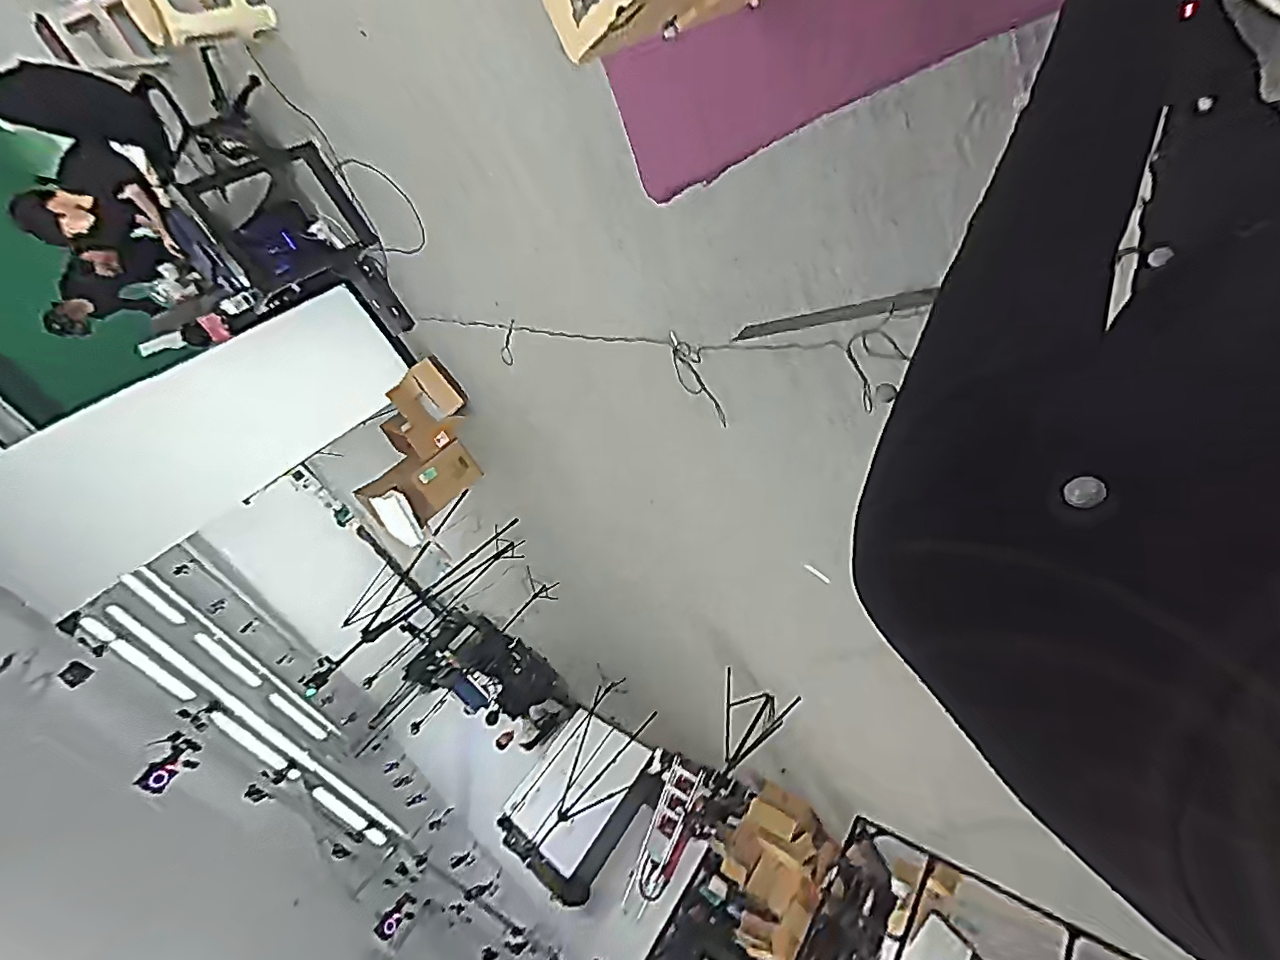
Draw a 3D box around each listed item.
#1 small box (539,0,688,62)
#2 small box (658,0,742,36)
[{"bbox_3d":[-0.011,-0.551,0.509,0.168,0.176,0.179,1,129,49],"label":"small box"},{"bbox_3d":[0.095,-0.645,0.594,0.168,0.176,0.179,6,133,46],"label":"small box"}]
